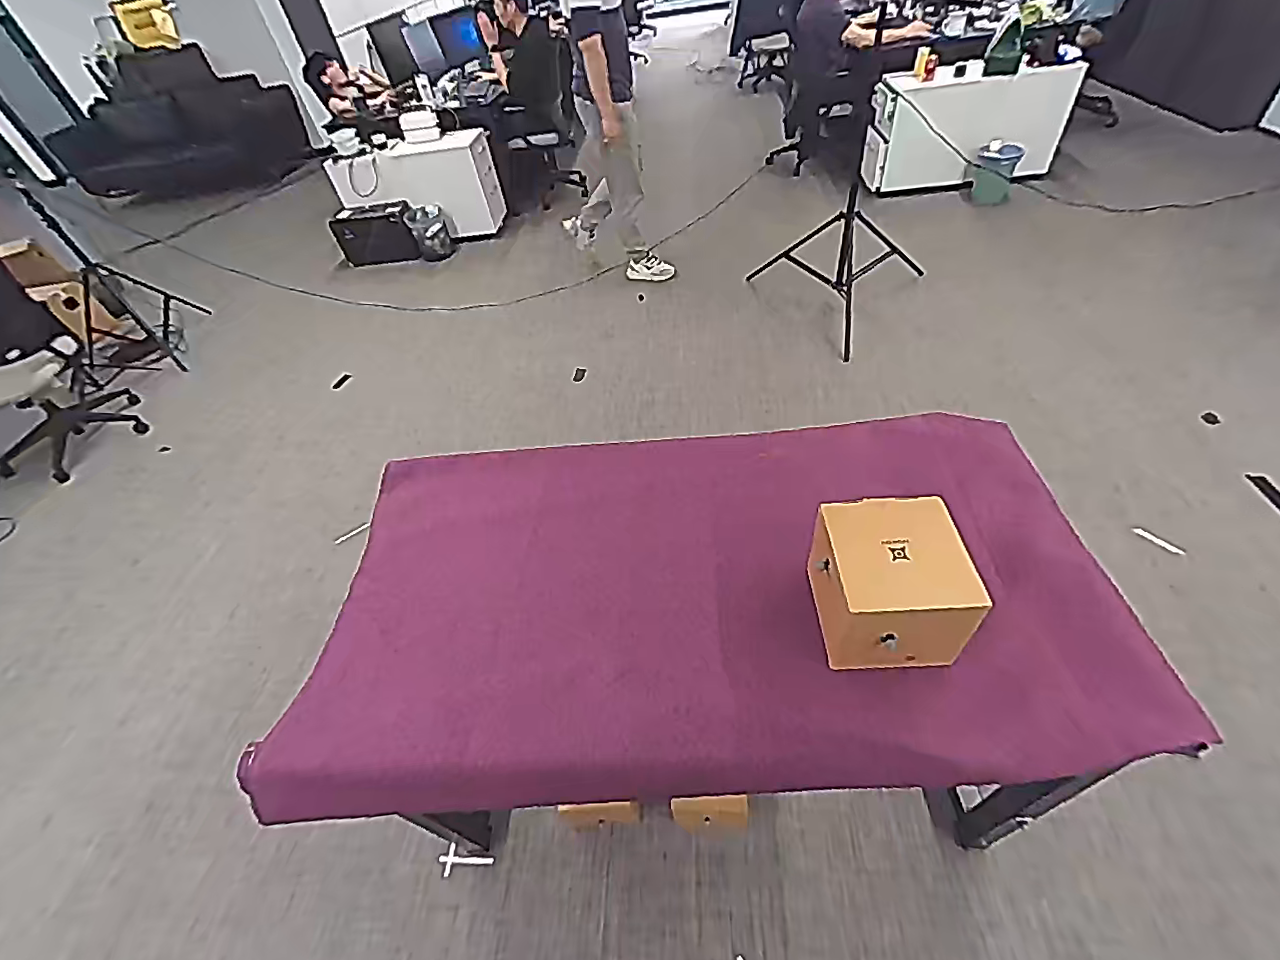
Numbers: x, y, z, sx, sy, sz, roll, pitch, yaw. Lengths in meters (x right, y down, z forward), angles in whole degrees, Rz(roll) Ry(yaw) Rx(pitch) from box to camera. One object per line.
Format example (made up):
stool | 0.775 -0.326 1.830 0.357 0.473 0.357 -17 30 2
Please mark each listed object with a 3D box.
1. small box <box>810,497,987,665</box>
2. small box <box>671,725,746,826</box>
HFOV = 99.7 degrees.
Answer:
small box | 0.345 0.148 0.761 0.168 0.176 0.179 -4 46 6
small box | 0.164 0.701 1.278 0.168 0.176 0.179 -2 46 7
